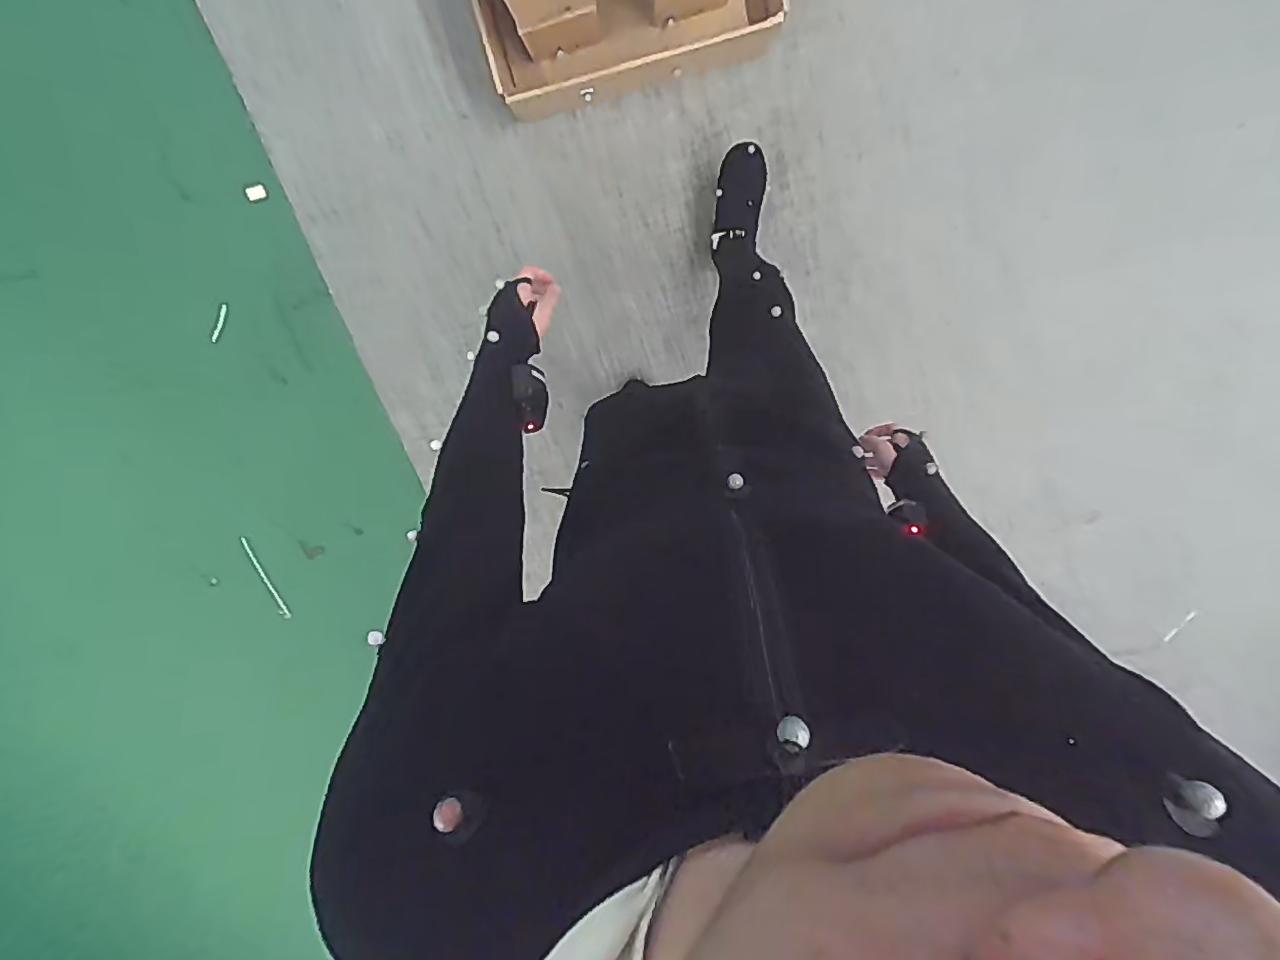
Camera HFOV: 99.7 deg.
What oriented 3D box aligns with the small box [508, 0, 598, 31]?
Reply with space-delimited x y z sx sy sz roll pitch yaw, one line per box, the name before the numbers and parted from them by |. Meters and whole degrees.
small box | -0.181 -0.961 0.963 0.168 0.176 0.179 -14 107 8
